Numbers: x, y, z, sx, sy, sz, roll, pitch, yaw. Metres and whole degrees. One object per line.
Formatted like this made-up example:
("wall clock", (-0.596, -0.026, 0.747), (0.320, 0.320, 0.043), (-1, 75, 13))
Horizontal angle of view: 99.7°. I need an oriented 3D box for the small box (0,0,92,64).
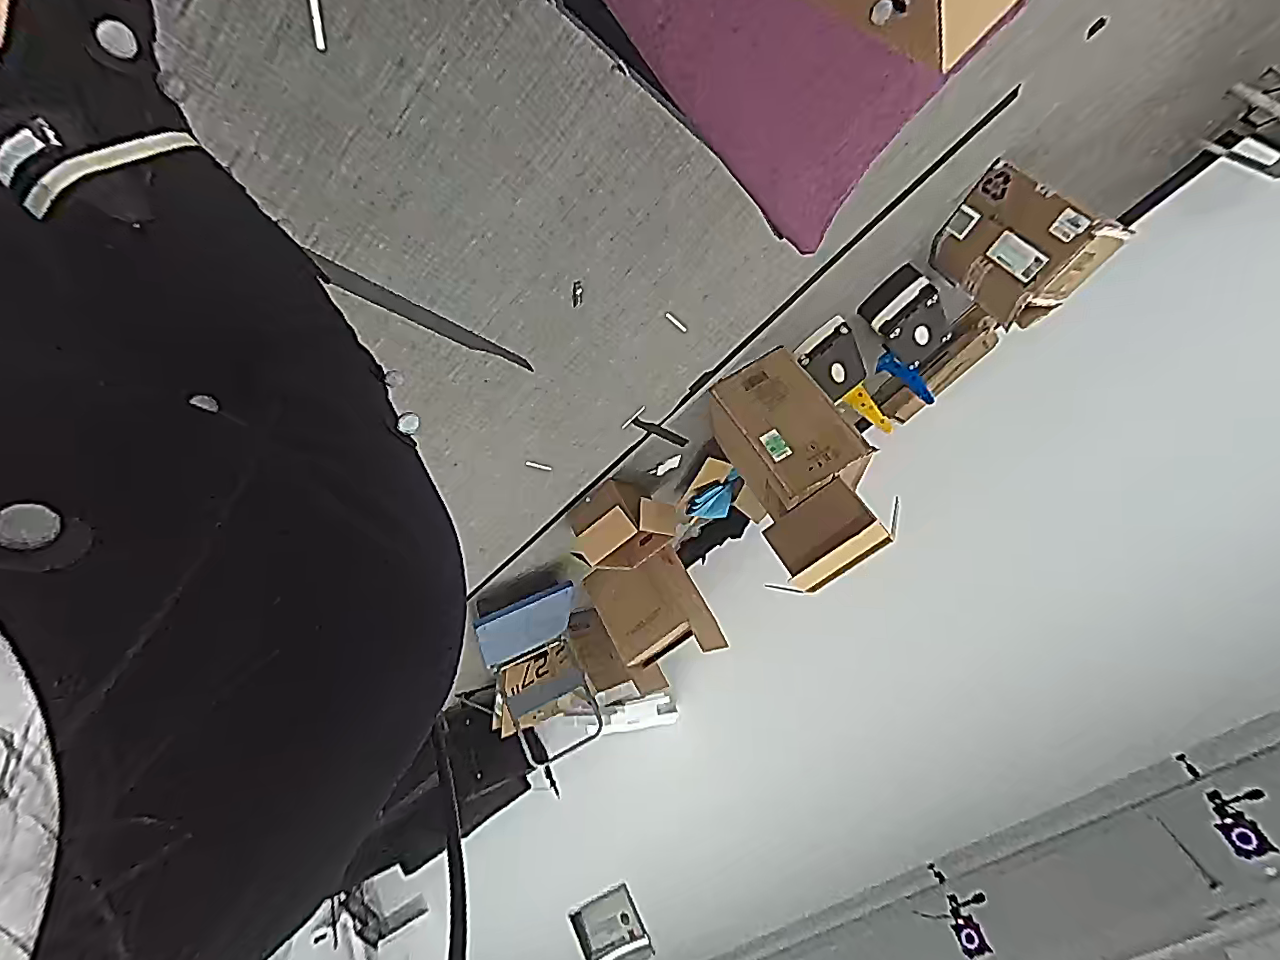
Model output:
("small box", (-0.766, -0.596, 0.593), (0.179, 0.176, 0.168), (-32, 153, -3))
